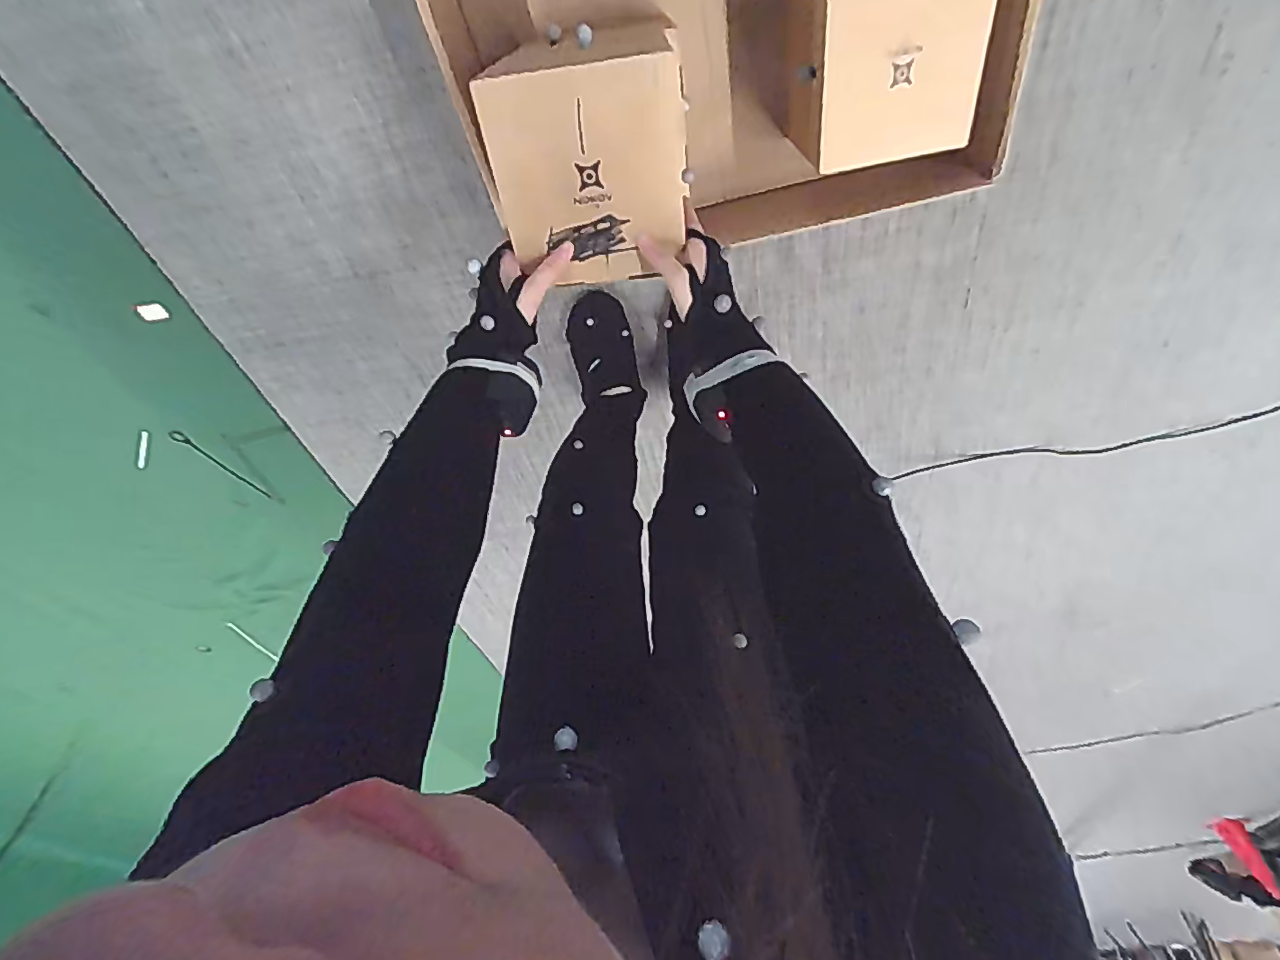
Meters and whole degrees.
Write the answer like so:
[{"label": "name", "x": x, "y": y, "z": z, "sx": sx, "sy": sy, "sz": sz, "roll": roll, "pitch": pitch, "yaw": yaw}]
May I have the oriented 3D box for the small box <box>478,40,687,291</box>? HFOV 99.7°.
[{"label": "small box", "x": -0.041, "y": -0.314, "z": 0.541, "sx": 0.168, "sy": 0.176, "sz": 0.179, "roll": -5, "pitch": 132, "yaw": 4}]
